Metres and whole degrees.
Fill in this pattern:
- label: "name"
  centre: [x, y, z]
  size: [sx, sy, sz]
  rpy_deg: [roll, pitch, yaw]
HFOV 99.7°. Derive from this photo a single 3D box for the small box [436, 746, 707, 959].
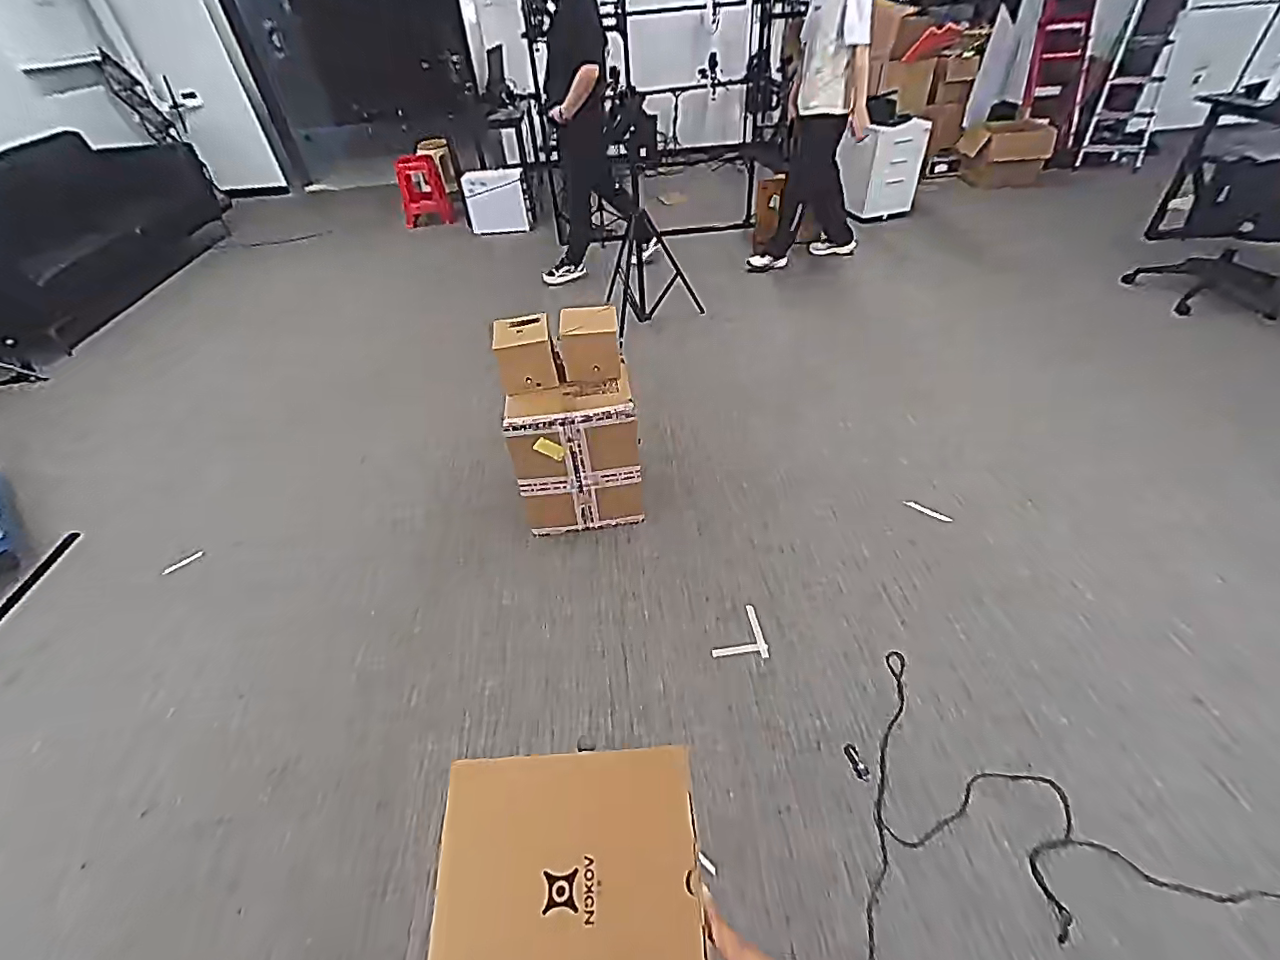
- label: "small box"
  centre: [-0.043, 0.320, 0.428]
  size: [0.179, 0.176, 0.168]
  rpy_deg: [-4, 55, -1]
